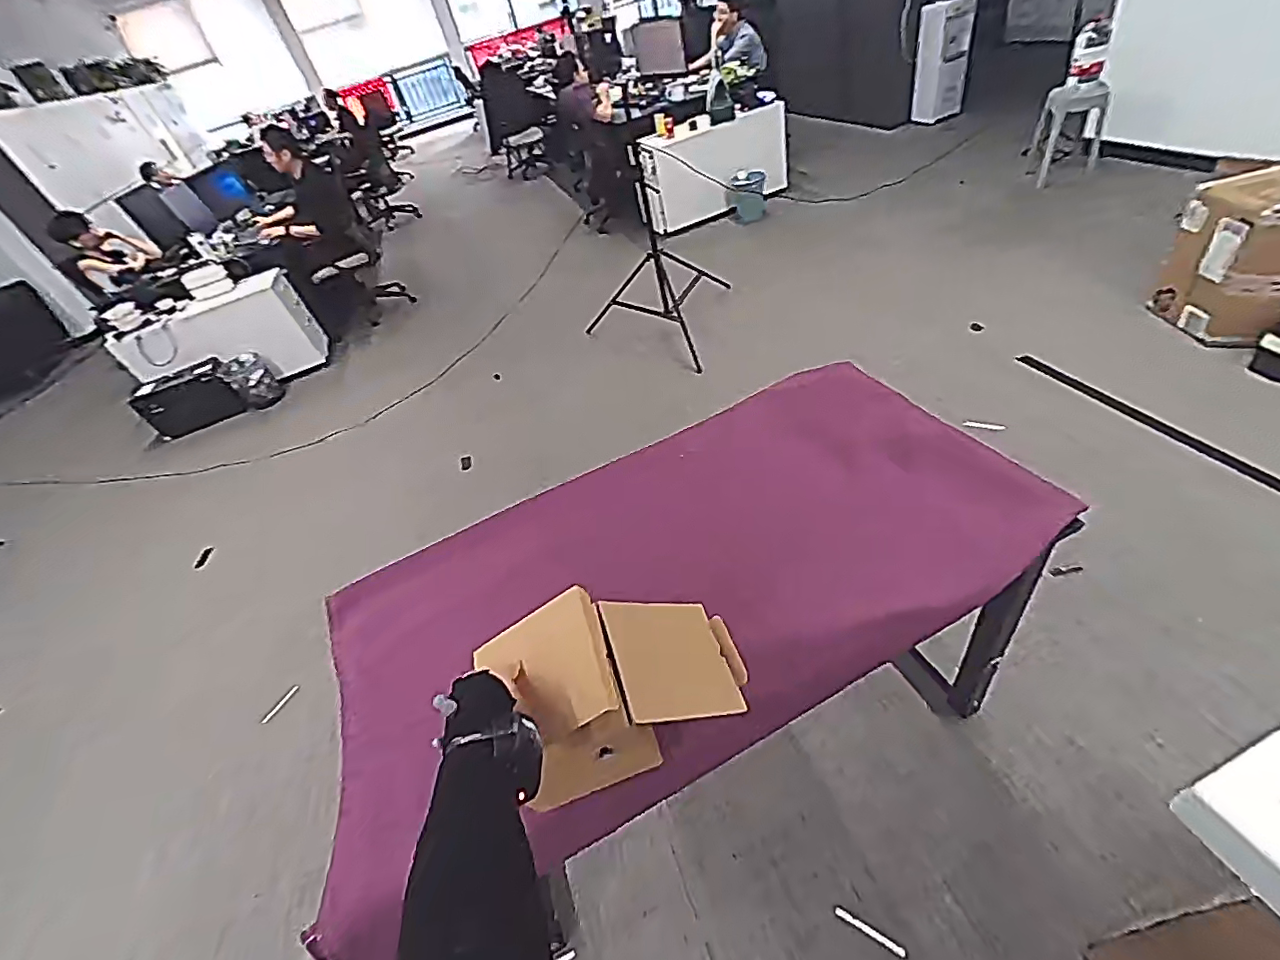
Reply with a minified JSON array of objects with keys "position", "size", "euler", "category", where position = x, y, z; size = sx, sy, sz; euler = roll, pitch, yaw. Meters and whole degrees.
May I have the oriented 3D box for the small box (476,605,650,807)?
[{"position":[-0.095,0.300,0.712],"size":[0.179,0.176,0.168],"euler":[-21,46,-2],"category":"small box"}]
